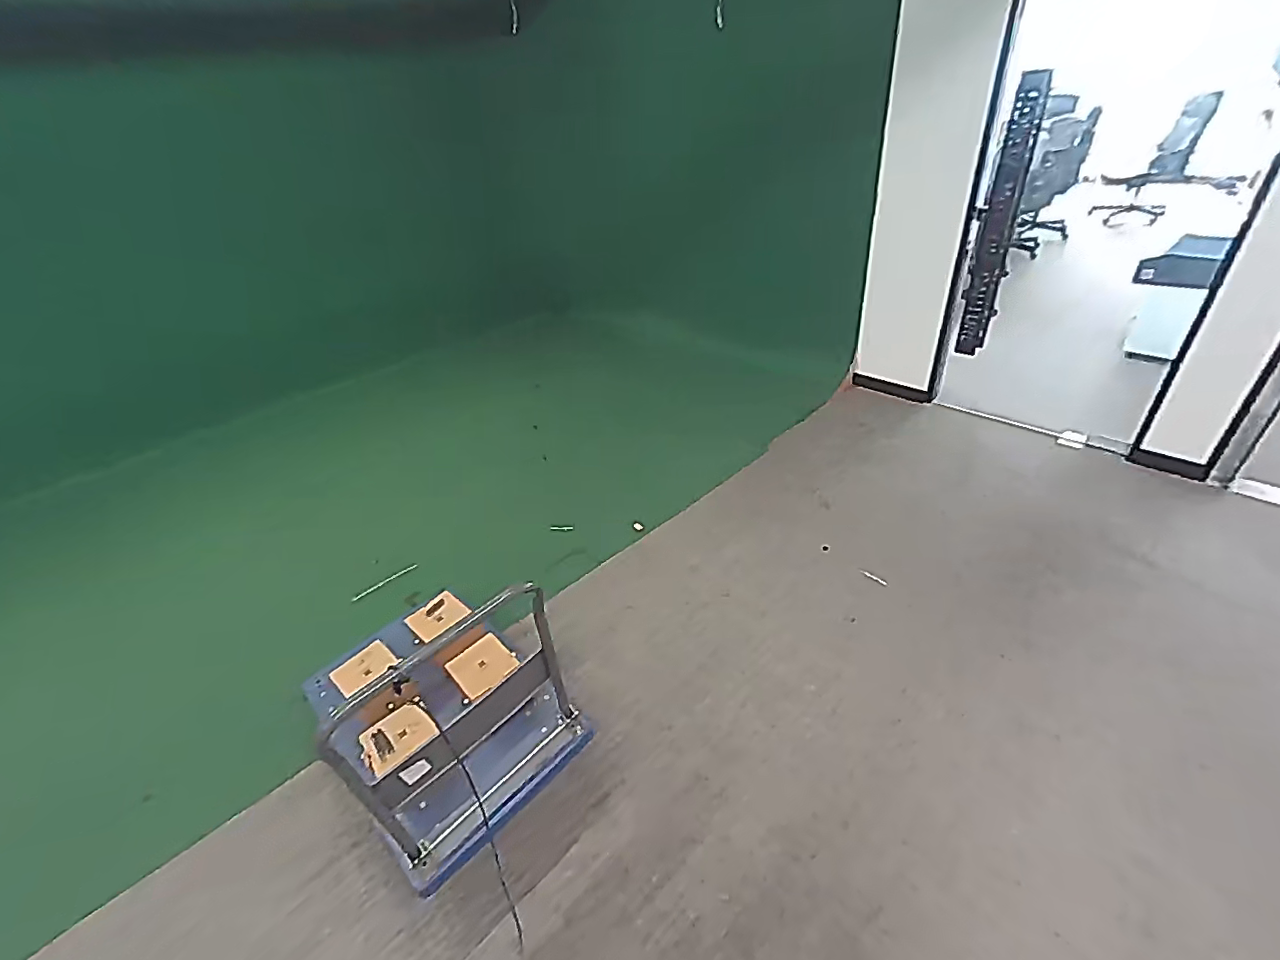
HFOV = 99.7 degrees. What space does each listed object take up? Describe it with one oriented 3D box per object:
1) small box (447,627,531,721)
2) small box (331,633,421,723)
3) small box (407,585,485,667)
[{"bbox_3d":[-0.460,0.596,1.656,0.168,0.176,0.179,-32,44,-31],"label":"small box"},{"bbox_3d":[-0.814,0.620,1.681,0.179,0.176,0.168,25,46,36],"label":"small box"},{"bbox_3d":[-0.647,0.494,1.822,0.179,0.176,0.168,26,48,35],"label":"small box"}]
